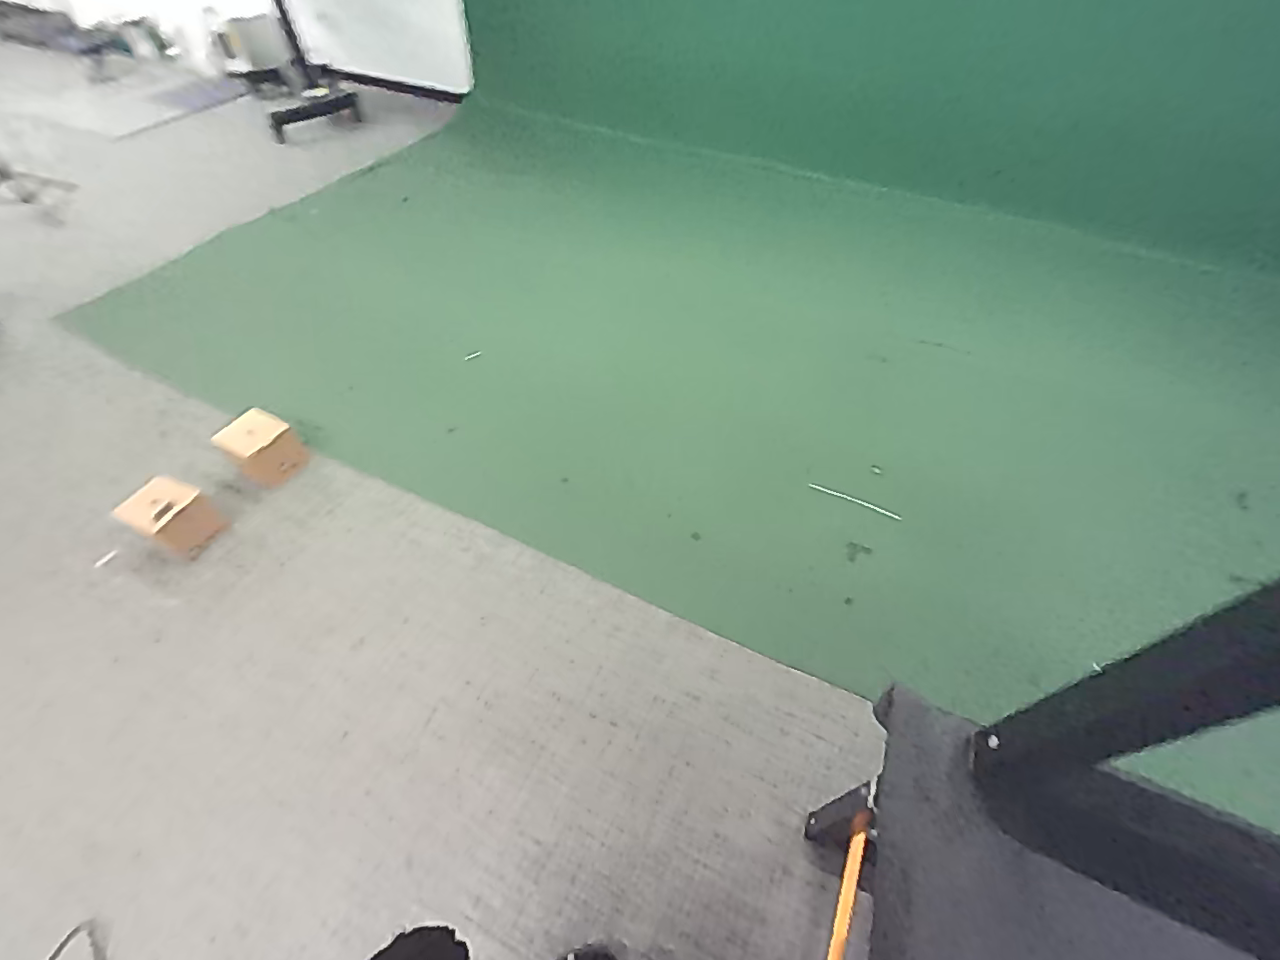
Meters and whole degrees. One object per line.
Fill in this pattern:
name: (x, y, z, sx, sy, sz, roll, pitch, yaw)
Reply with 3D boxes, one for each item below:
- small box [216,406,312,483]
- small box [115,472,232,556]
small box: (-1.269, -0.115, 1.836, 0.179, 0.176, 0.168, 23, 55, 15)
small box: (-1.409, 0.109, 1.649, 0.179, 0.176, 0.168, 18, 53, 12)
